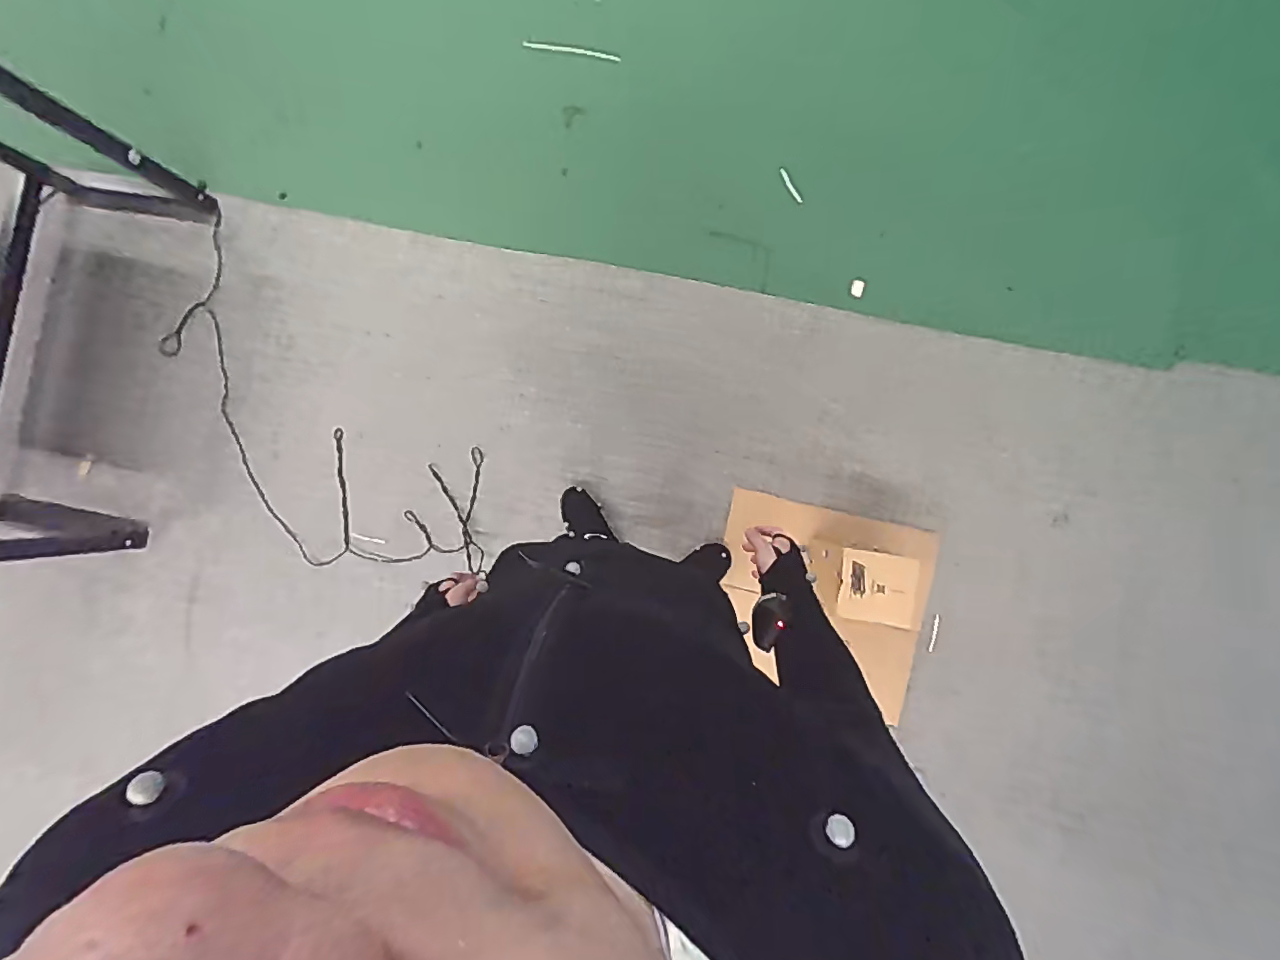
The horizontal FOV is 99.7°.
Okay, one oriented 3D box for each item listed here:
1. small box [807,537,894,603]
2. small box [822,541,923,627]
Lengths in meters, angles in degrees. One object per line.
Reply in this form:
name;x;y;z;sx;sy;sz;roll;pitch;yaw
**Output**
small box;0.576;0.252;1.495;0.179;0.176;0.168;6;89;5
small box;0.562;0.248;1.332;0.179;0.176;0.168;9;90;4
